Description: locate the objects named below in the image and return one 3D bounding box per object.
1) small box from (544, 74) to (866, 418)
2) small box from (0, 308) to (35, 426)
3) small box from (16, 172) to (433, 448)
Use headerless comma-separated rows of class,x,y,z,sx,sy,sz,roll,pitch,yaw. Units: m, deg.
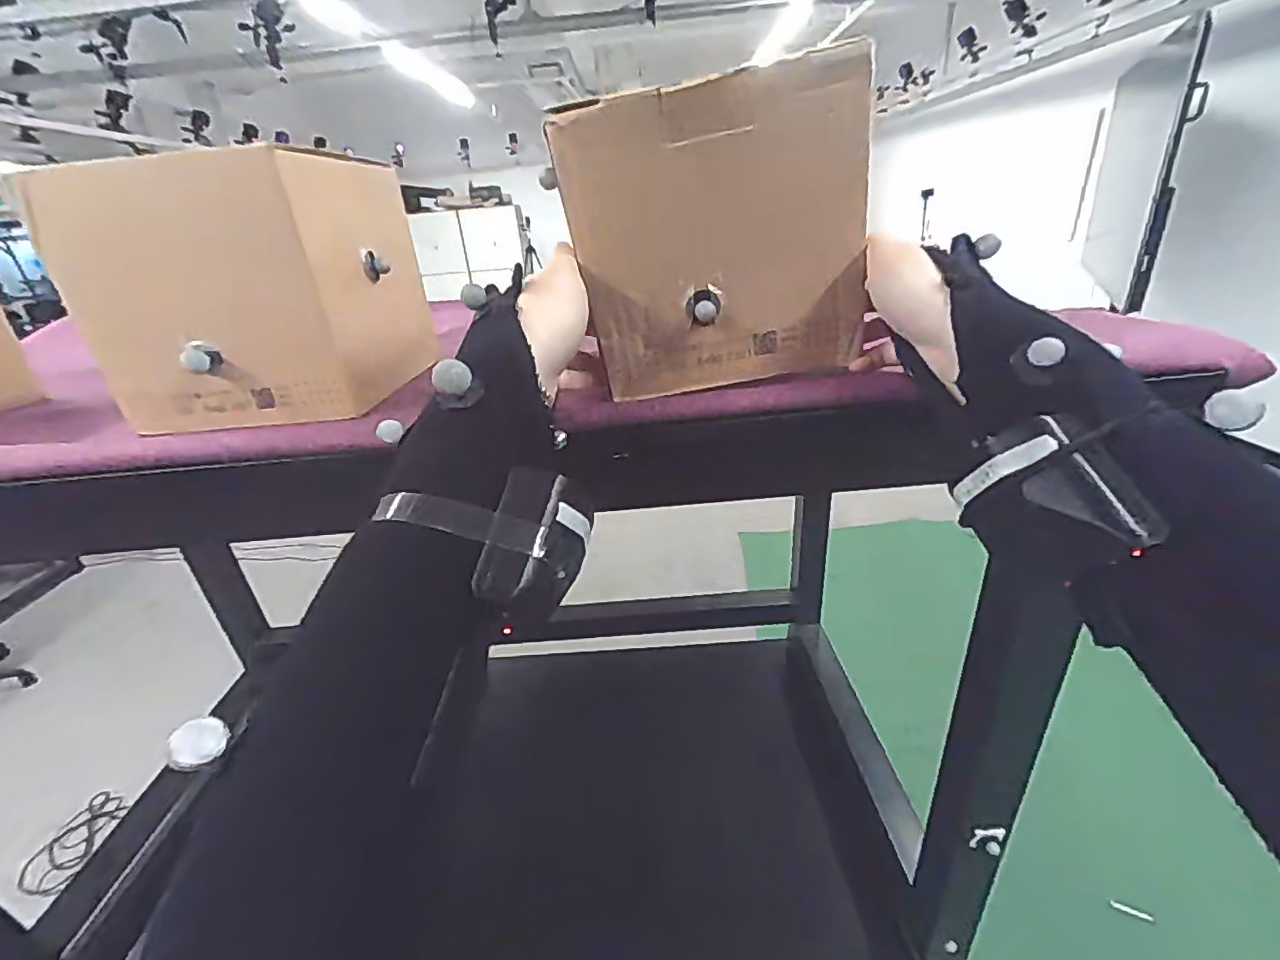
small box,0.043,-0.163,0.383,0.168,0.176,0.179,-10,34,5
small box,-0.653,-0.102,0.422,0.168,0.176,0.179,-4,26,2
small box,-0.282,-0.136,0.425,0.168,0.176,0.179,-4,28,3
